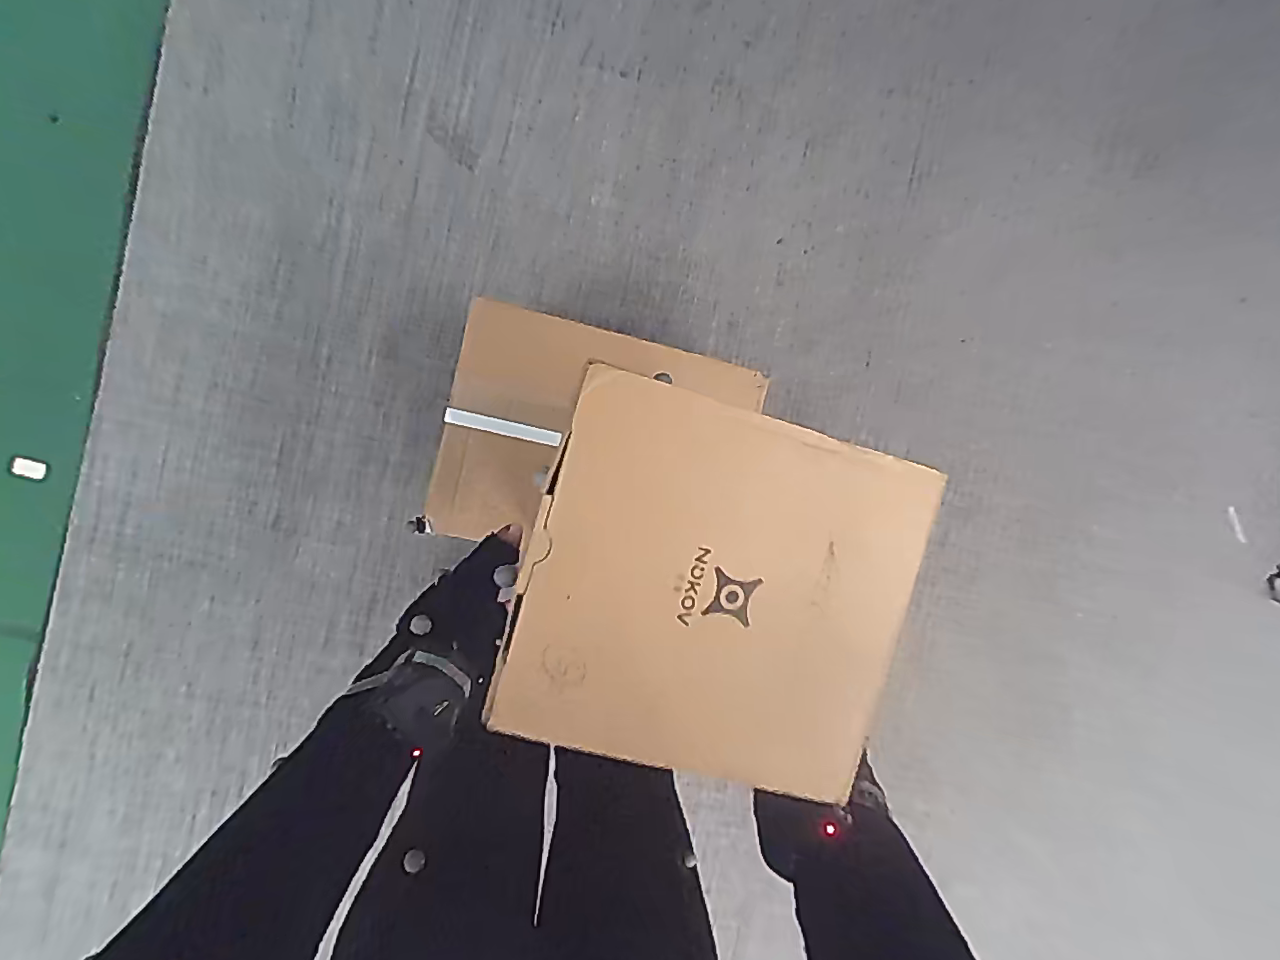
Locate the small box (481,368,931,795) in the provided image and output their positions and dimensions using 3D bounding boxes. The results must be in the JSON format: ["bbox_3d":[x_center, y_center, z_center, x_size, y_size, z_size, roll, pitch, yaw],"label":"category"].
[{"bbox_3d":[0.024,0.045,0.322,0.179,0.176,0.168,14,93,-8],"label":"small box"}]
